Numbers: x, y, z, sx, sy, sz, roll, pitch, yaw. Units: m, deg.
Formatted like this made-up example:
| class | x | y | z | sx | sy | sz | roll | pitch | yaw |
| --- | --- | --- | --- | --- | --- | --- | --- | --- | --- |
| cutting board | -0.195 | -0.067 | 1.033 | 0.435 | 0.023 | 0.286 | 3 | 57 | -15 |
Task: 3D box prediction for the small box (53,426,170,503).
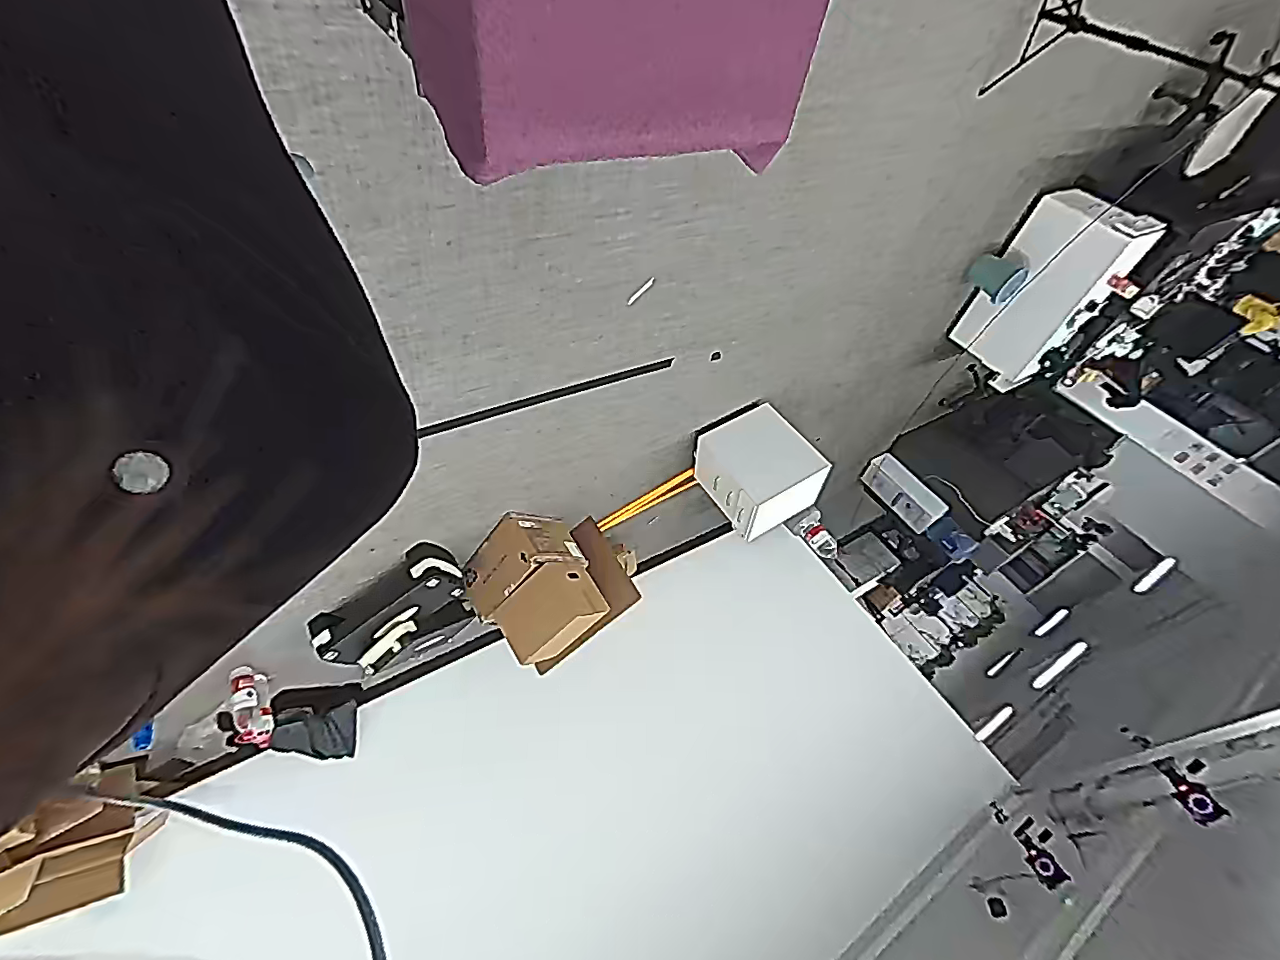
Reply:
| class | x | y | z | sx | sy | sz | roll | pitch | yaw |
| --- | --- | --- | --- | --- | --- | --- | --- | --- | --- |
| small box | -1.428 | -0.018 | 1.470 | 0.179 | 0.176 | 0.168 | -21 | 147 | -25 |
